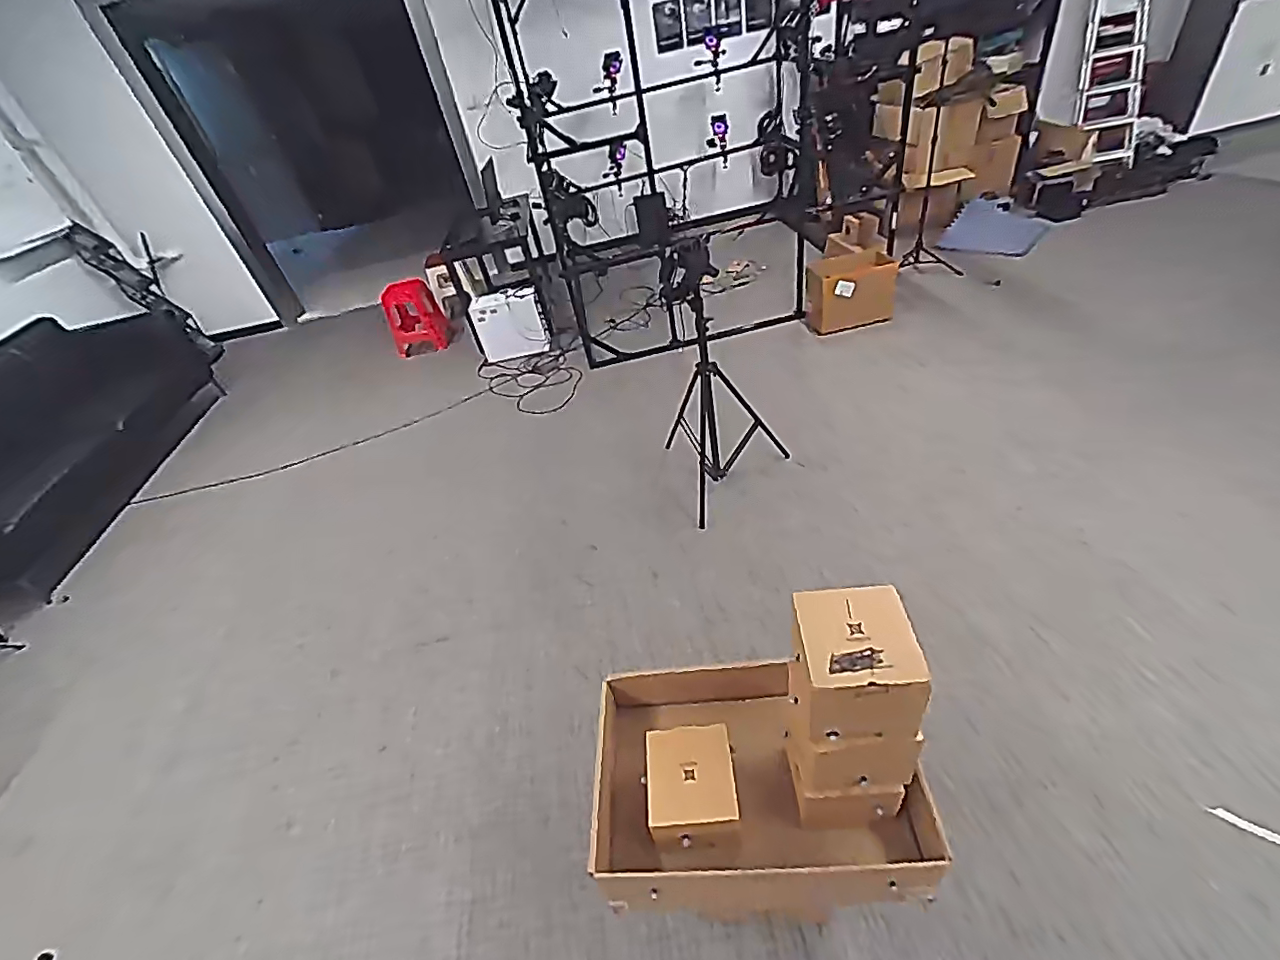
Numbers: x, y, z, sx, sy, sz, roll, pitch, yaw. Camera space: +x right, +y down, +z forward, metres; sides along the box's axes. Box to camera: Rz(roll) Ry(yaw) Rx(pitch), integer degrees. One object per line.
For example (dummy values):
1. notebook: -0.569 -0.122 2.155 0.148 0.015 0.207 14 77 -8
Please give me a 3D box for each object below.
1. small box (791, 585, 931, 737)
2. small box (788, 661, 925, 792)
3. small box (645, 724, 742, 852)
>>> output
1. small box: 0.339 0.294 0.864 0.168 0.176 0.179 -6 39 8
2. small box: 0.368 0.429 0.956 0.179 0.176 0.168 -8 39 4
3. small box: 0.106 0.614 1.071 0.168 0.176 0.179 -8 39 5
